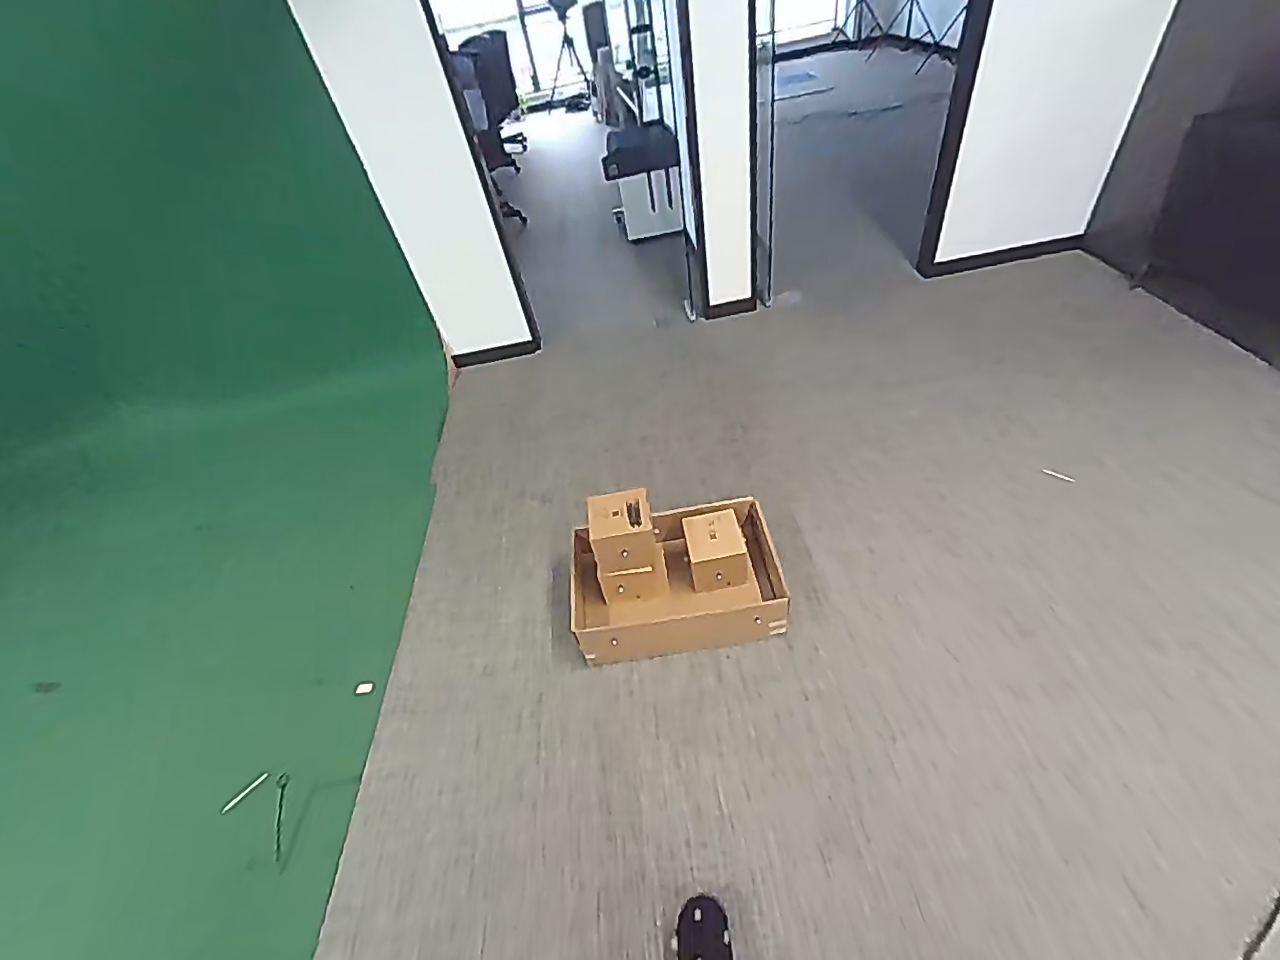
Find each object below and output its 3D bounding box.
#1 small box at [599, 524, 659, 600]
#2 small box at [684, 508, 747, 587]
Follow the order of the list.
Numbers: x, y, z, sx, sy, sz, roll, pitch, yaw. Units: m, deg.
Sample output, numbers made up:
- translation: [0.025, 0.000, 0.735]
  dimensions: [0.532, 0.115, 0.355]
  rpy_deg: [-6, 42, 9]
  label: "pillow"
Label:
- translation: [-0.032, 0.265, 1.703]
  dimensions: [0.168, 0.176, 0.179]
  rpy_deg: [-7, 45, 4]
  label: "small box"
- translation: [0.238, 0.217, 1.688]
  dimensions: [0.168, 0.176, 0.179]
  rpy_deg: [-10, 45, 2]
  label: "small box"
